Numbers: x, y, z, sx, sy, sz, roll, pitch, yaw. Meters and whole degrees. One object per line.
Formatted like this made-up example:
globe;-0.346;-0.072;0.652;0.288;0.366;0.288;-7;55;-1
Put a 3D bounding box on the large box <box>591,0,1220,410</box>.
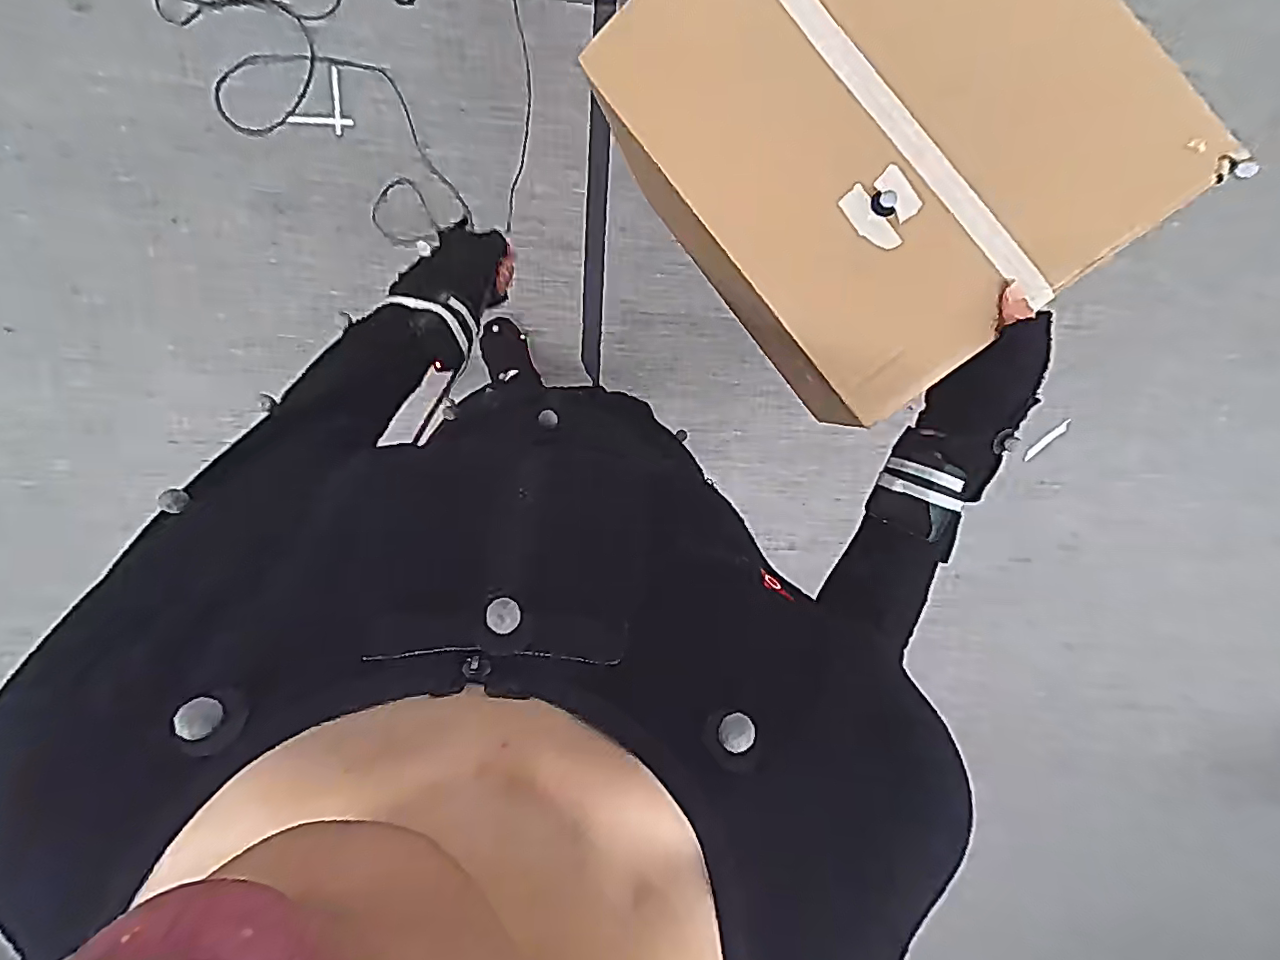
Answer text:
large box;0.218;-0.323;0.580;0.320;0.320;0.408;-38;89;14
